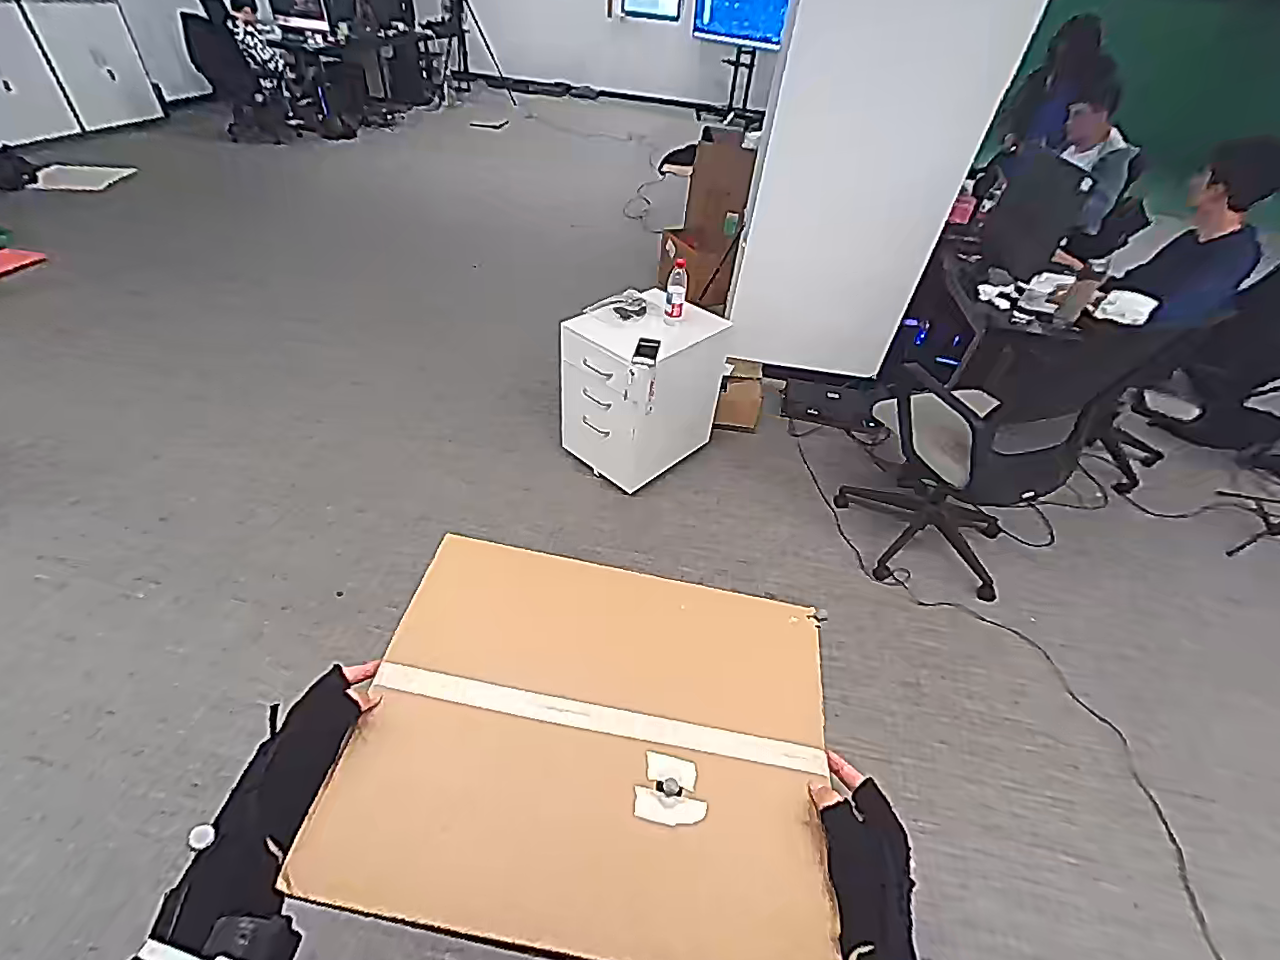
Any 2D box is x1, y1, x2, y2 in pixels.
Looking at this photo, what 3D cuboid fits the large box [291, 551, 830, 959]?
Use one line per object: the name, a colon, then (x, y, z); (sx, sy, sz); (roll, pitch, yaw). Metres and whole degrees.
large box: (-0.058, 0.321, 0.594); (0.408, 0.320, 0.320); (12, 49, 0)
